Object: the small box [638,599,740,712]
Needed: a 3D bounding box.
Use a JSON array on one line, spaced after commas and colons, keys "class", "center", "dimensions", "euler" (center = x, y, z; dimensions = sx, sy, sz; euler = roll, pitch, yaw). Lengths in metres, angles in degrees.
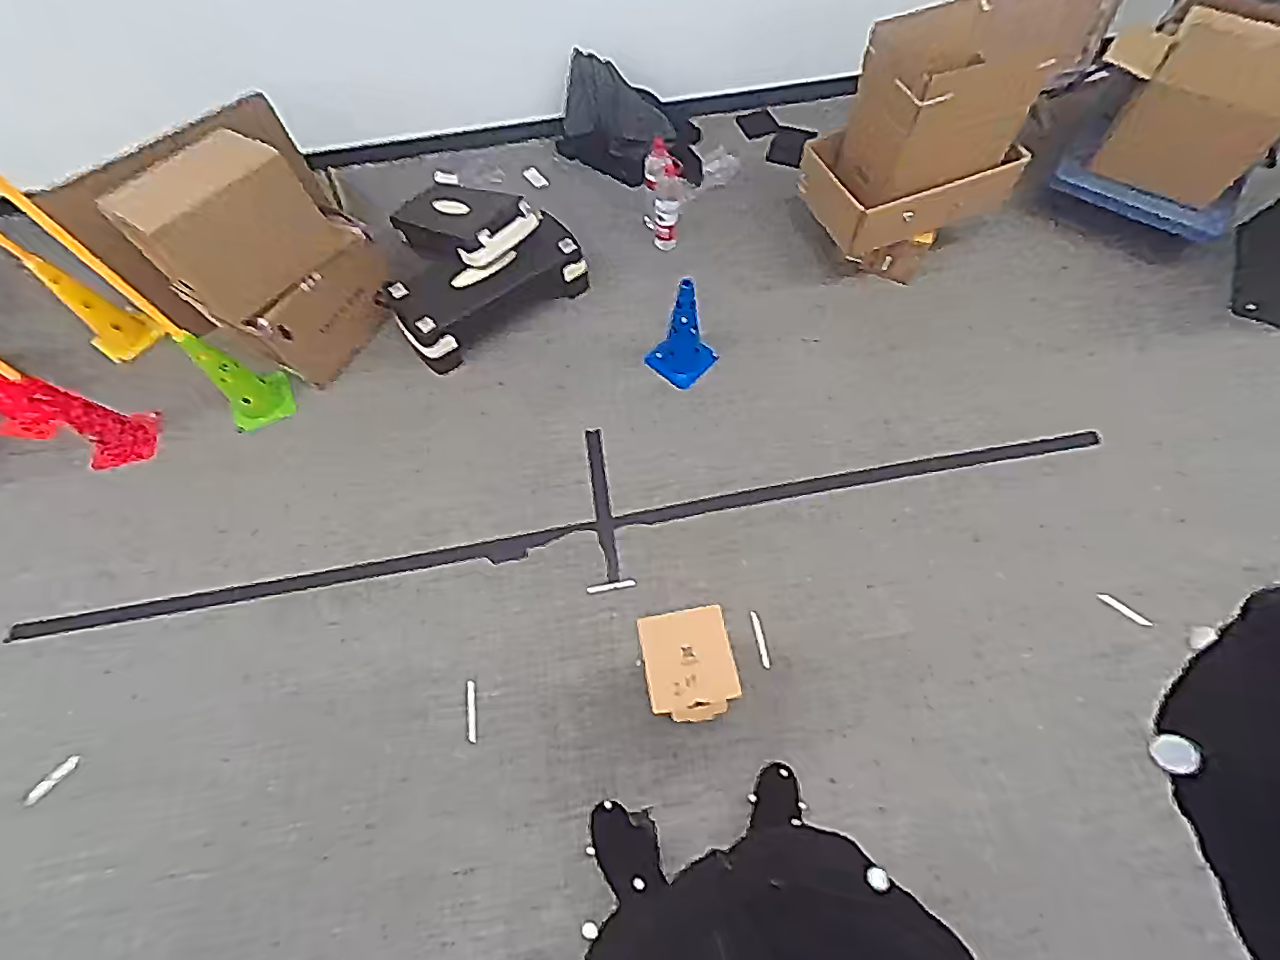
[{"class": "small box", "center": [0.089, 0.355, 1.081], "dimensions": [0.168, 0.176, 0.179], "euler": [-10, 65, -3]}]
